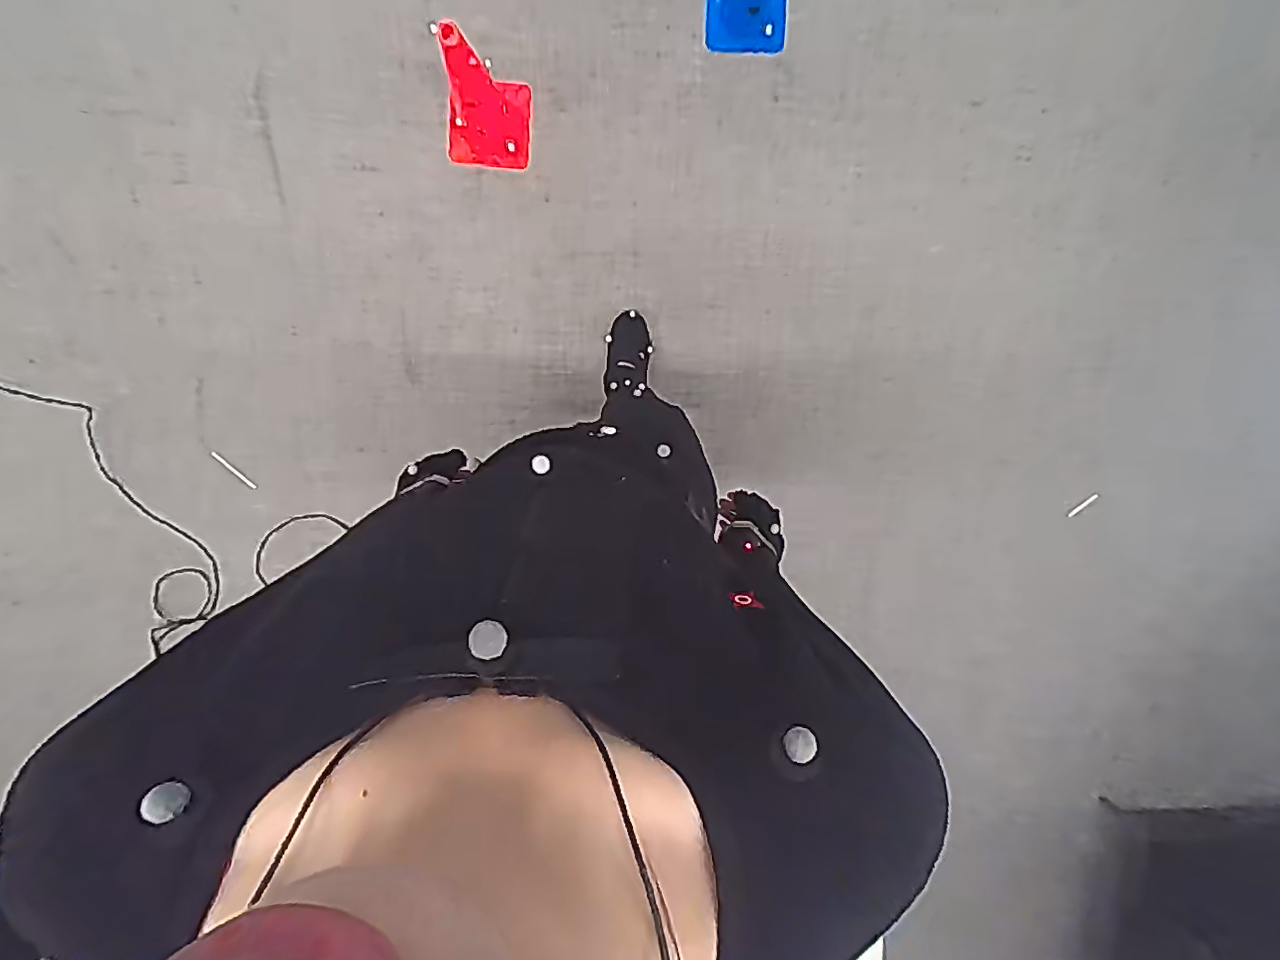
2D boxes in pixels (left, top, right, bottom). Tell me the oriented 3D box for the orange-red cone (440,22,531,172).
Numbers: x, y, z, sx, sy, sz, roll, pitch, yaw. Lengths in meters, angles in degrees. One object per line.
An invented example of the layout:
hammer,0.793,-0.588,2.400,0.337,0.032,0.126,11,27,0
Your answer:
orange-red cone,-0.364,-0.853,1.168,0.198,0.360,0.199,5,98,-4
